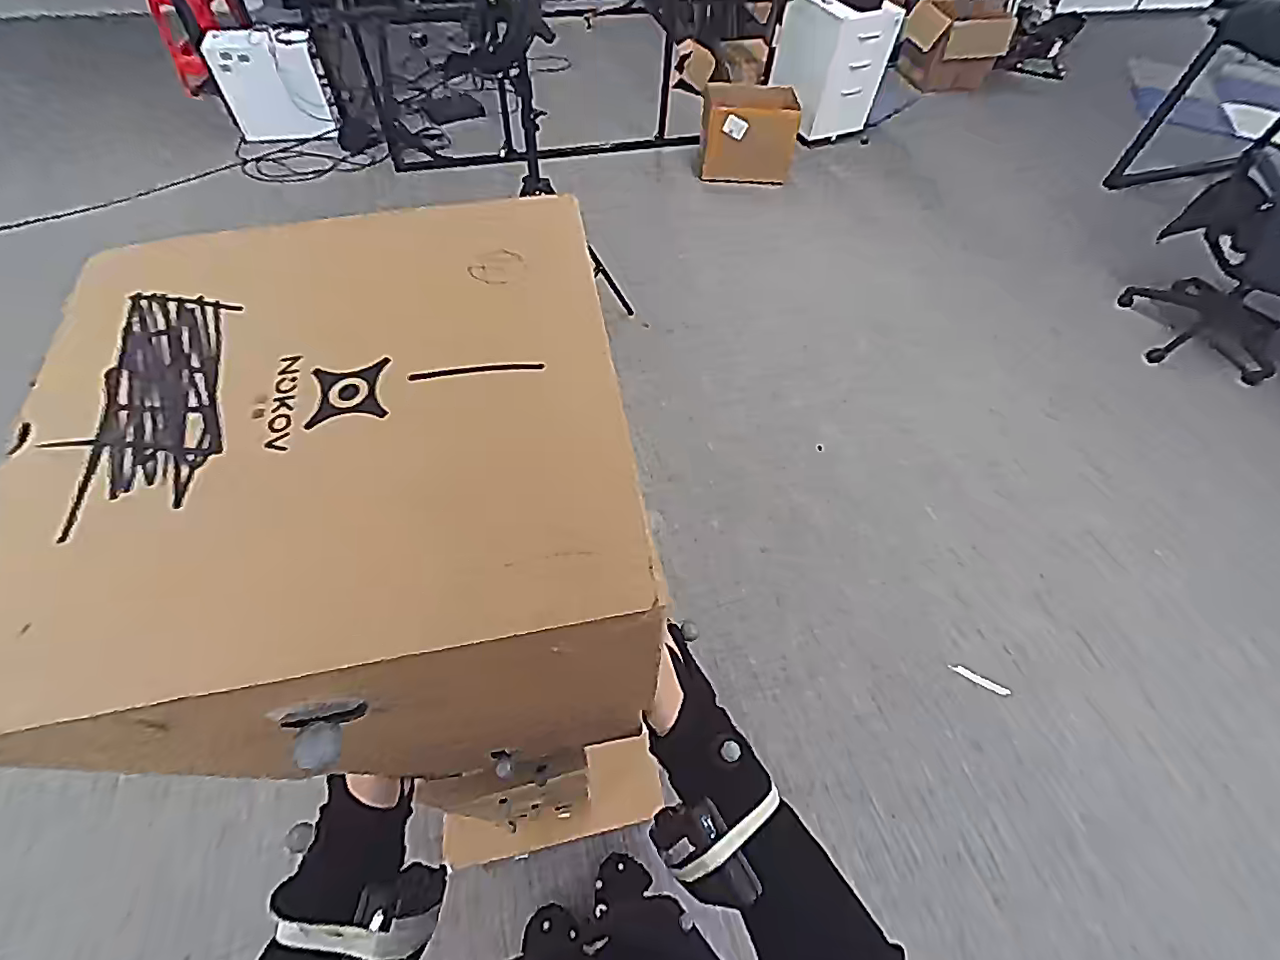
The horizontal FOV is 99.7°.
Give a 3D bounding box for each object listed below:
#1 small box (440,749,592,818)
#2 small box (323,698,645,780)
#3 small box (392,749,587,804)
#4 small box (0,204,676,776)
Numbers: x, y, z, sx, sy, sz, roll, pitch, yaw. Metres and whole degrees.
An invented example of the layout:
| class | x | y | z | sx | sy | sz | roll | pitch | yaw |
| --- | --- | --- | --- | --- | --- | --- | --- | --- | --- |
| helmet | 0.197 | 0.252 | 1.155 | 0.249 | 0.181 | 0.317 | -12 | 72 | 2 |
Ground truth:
| class | x | y | z | sx | sy | sz | roll | pitch | yaw |
| --- | --- | --- | --- | --- | --- | --- | --- | --- | --- |
| small box | -0.158 | 0.319 | 0.700 | 0.168 | 0.176 | 0.179 | -11 | 57 | -11 |
| small box | -0.090 | 0.095 | 0.375 | 0.168 | 0.176 | 0.179 | -10 | 60 | -5 |
| small box | -0.151 | 0.223 | 0.569 | 0.168 | 0.176 | 0.179 | -10 | 55 | -12 |
| small box | -0.088 | 0.018 | 0.230 | 0.179 | 0.176 | 0.168 | -10 | 61 | -6 |
